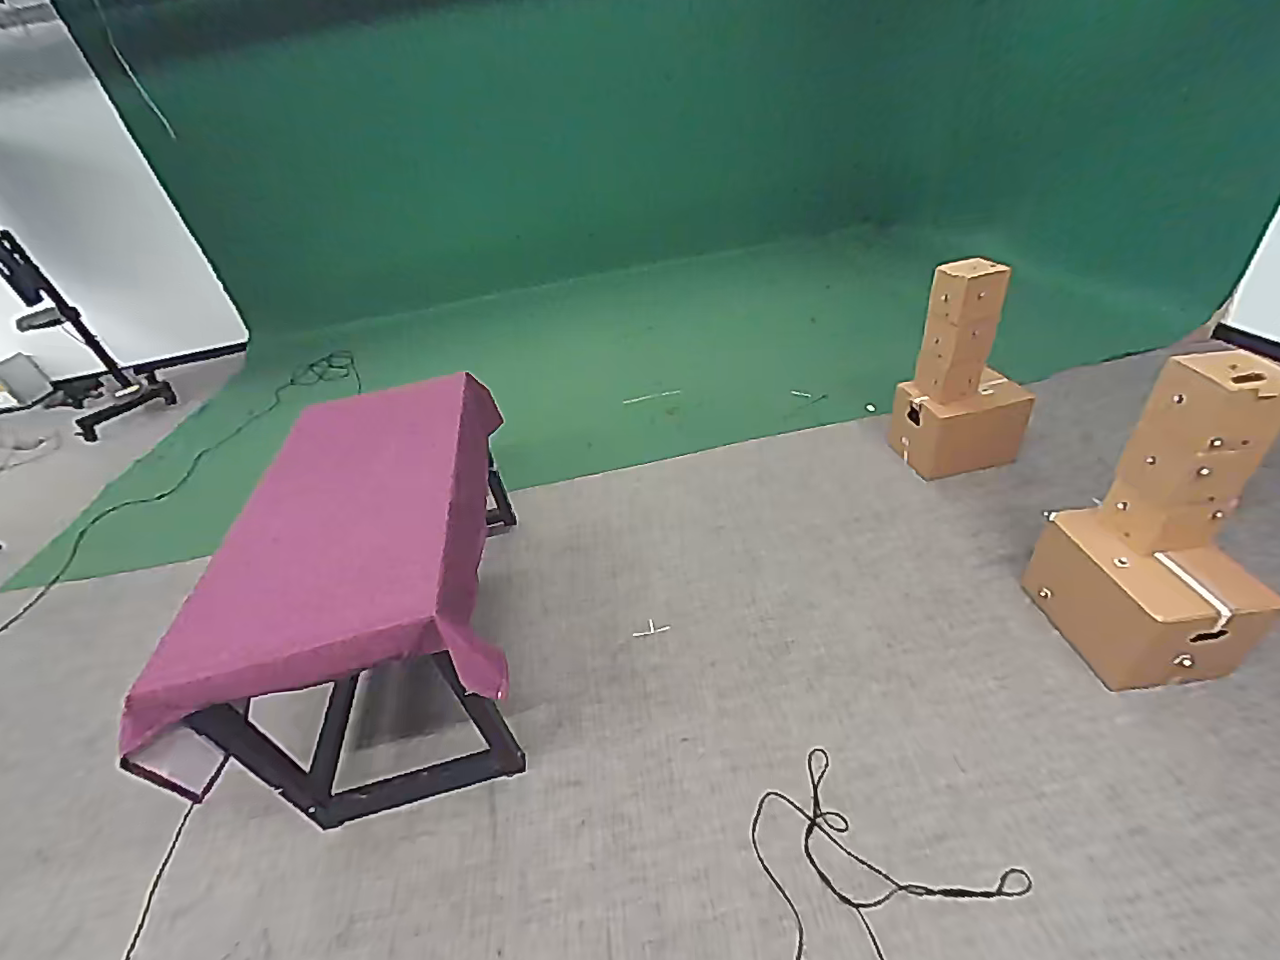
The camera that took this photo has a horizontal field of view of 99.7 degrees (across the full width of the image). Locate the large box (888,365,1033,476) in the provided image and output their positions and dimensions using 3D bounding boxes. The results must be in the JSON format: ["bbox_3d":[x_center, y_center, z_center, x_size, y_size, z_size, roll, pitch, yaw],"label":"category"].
[{"bbox_3d":[1.344,-0.256,2.309,0.408,0.320,0.320,-12,37,-4],"label":"large box"}]

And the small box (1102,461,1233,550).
[{"bbox_3d":[1.406,0.072,1.464,0.179,0.176,0.168,-7,38,1],"label":"small box"}]

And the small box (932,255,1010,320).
[{"bbox_3d":[1.198,-0.701,1.973,0.179,0.176,0.168,-14,37,-5],"label":"small box"}]

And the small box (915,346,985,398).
[{"bbox_3d":[1.238,-0.443,2.172,0.168,0.176,0.179,-13,36,-4],"label":"small box"}]

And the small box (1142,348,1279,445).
[{"bbox_3d":[1.358,-0.192,1.273,0.168,0.176,0.179,-5,36,5],"label":"small box"}]

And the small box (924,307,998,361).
[{"bbox_3d":[1.222,-0.573,2.074,0.179,0.176,0.168,-15,38,-8],"label":"small box"}]
